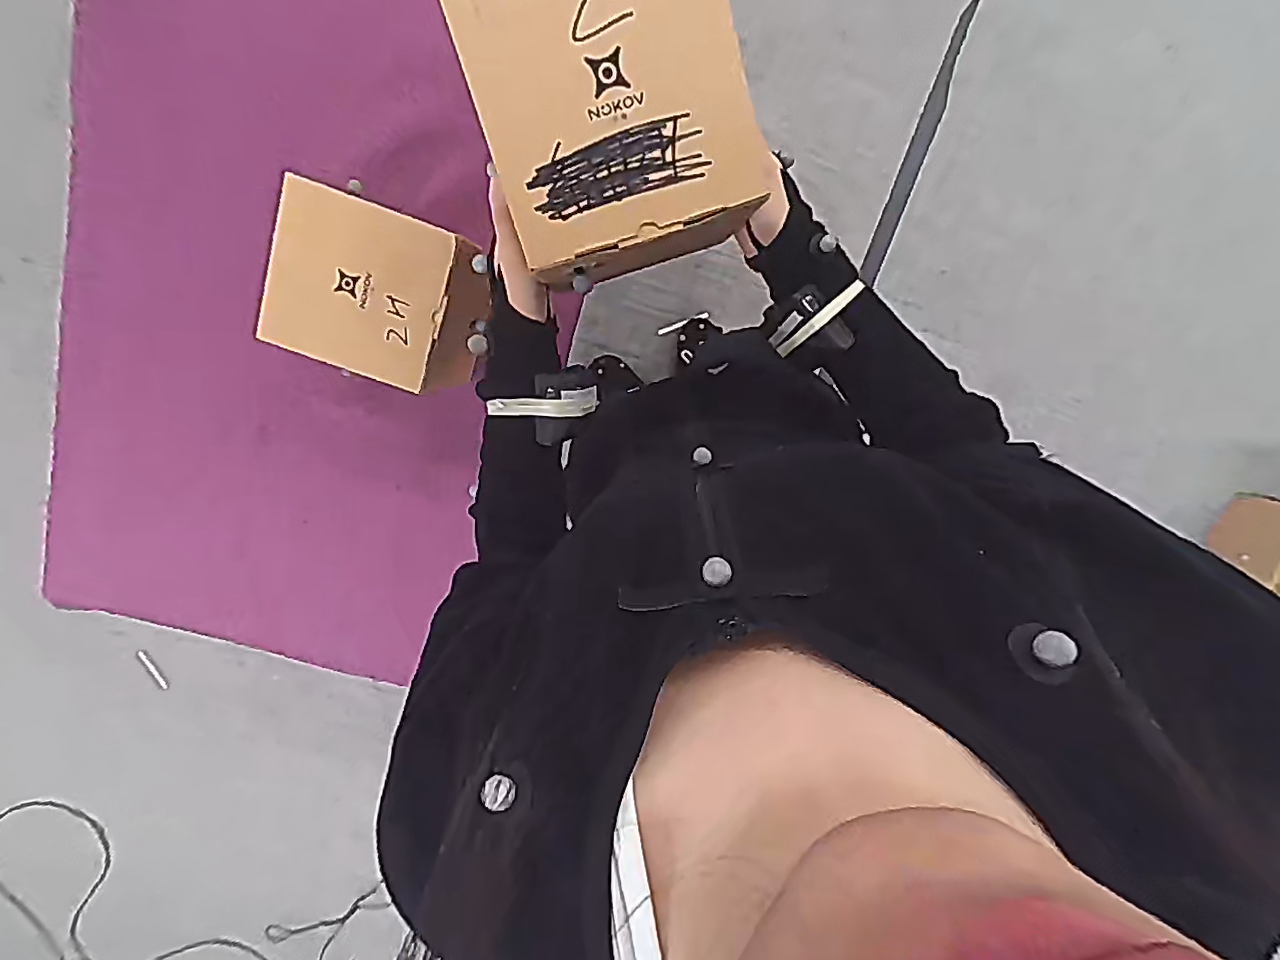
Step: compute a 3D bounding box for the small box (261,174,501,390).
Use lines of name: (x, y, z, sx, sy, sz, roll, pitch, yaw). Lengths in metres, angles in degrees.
small box: (-0.281, -0.213, 0.620, 0.179, 0.176, 0.168, 19, 104, -5)

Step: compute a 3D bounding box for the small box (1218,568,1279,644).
small box: (1.825, 0.360, 1.528, 0.179, 0.176, 0.168, 8, 103, -3)
